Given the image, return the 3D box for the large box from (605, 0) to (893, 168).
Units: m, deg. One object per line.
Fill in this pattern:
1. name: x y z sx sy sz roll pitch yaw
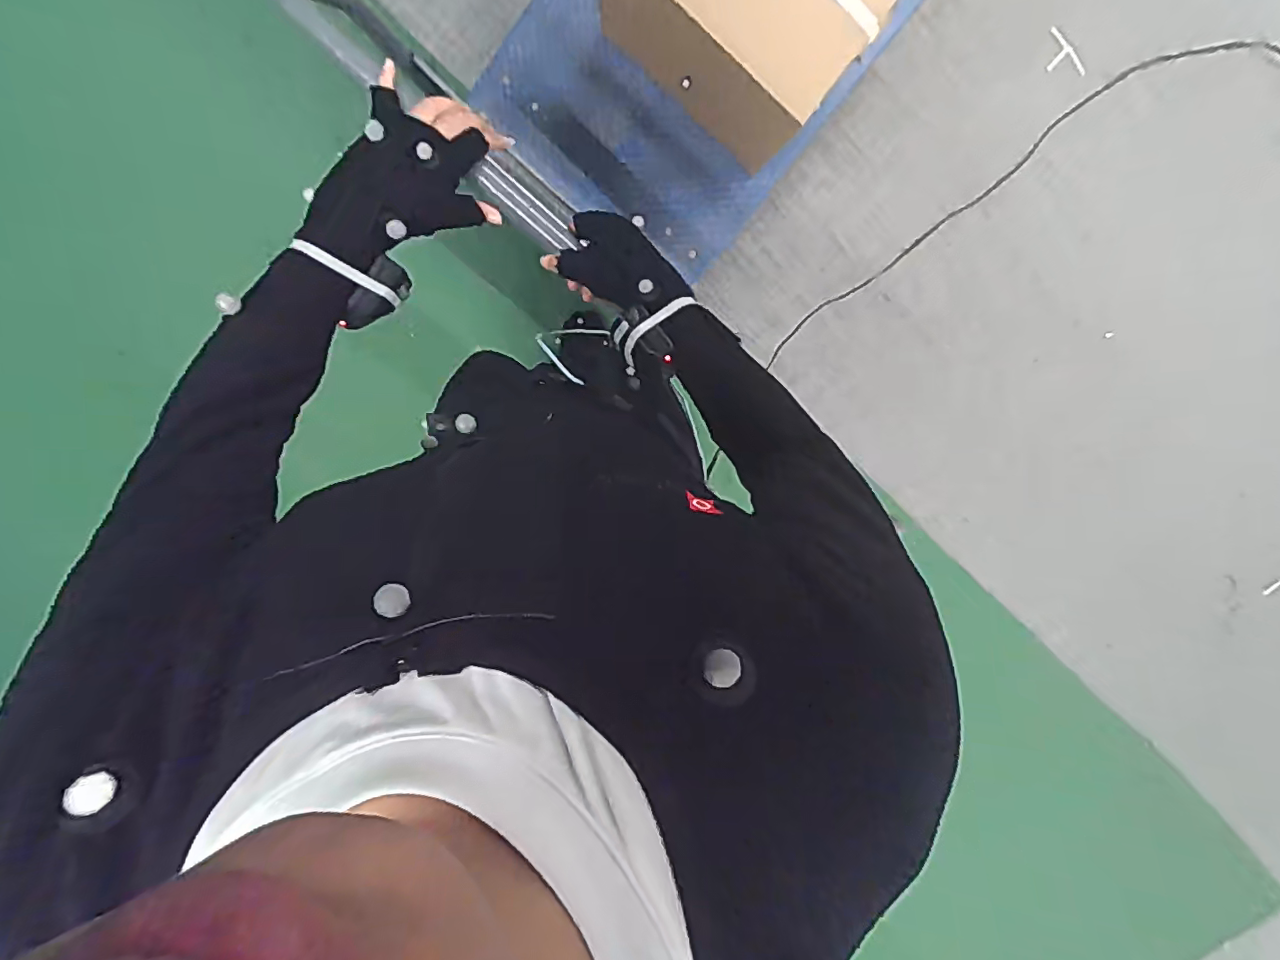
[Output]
1. large box: 0.185 -0.833 0.923 0.408 0.320 0.320 36 101 -12
